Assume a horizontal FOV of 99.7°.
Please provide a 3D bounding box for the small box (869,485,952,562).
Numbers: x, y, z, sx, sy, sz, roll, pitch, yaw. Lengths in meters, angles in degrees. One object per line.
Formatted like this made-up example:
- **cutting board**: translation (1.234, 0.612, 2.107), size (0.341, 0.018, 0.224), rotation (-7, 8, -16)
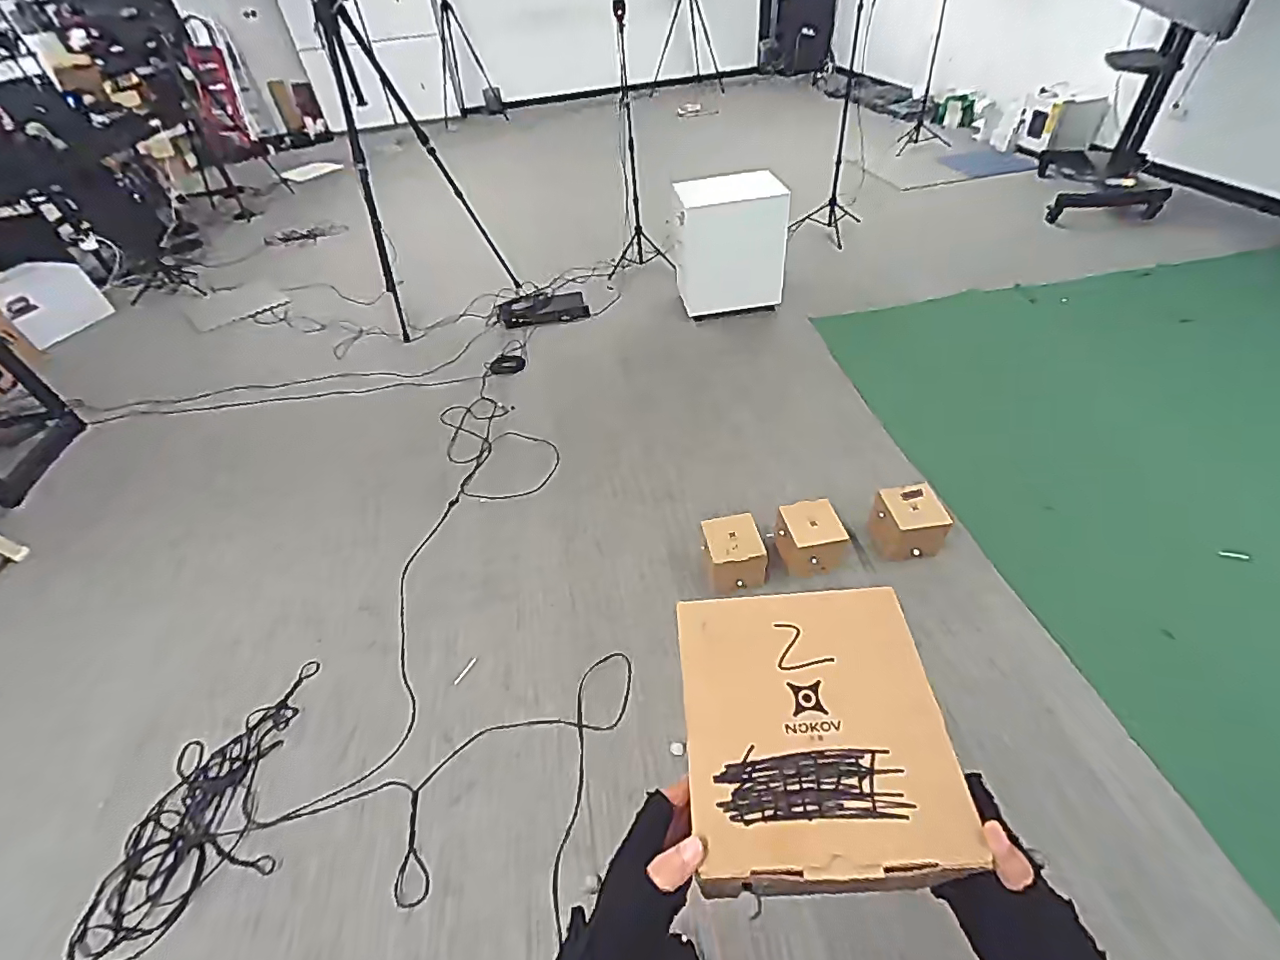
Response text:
- **small box**: translation (0.869, 0.142, 1.758), size (0.168, 0.176, 0.179), rotation (-7, 45, 0)

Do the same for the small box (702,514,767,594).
- **small box**: translation (0.296, 0.236, 1.728), size (0.168, 0.176, 0.179), rotation (-10, 44, -2)

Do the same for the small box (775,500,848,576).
- **small box**: translation (0.547, 0.193, 1.747), size (0.168, 0.176, 0.179), rotation (-10, 43, -3)
